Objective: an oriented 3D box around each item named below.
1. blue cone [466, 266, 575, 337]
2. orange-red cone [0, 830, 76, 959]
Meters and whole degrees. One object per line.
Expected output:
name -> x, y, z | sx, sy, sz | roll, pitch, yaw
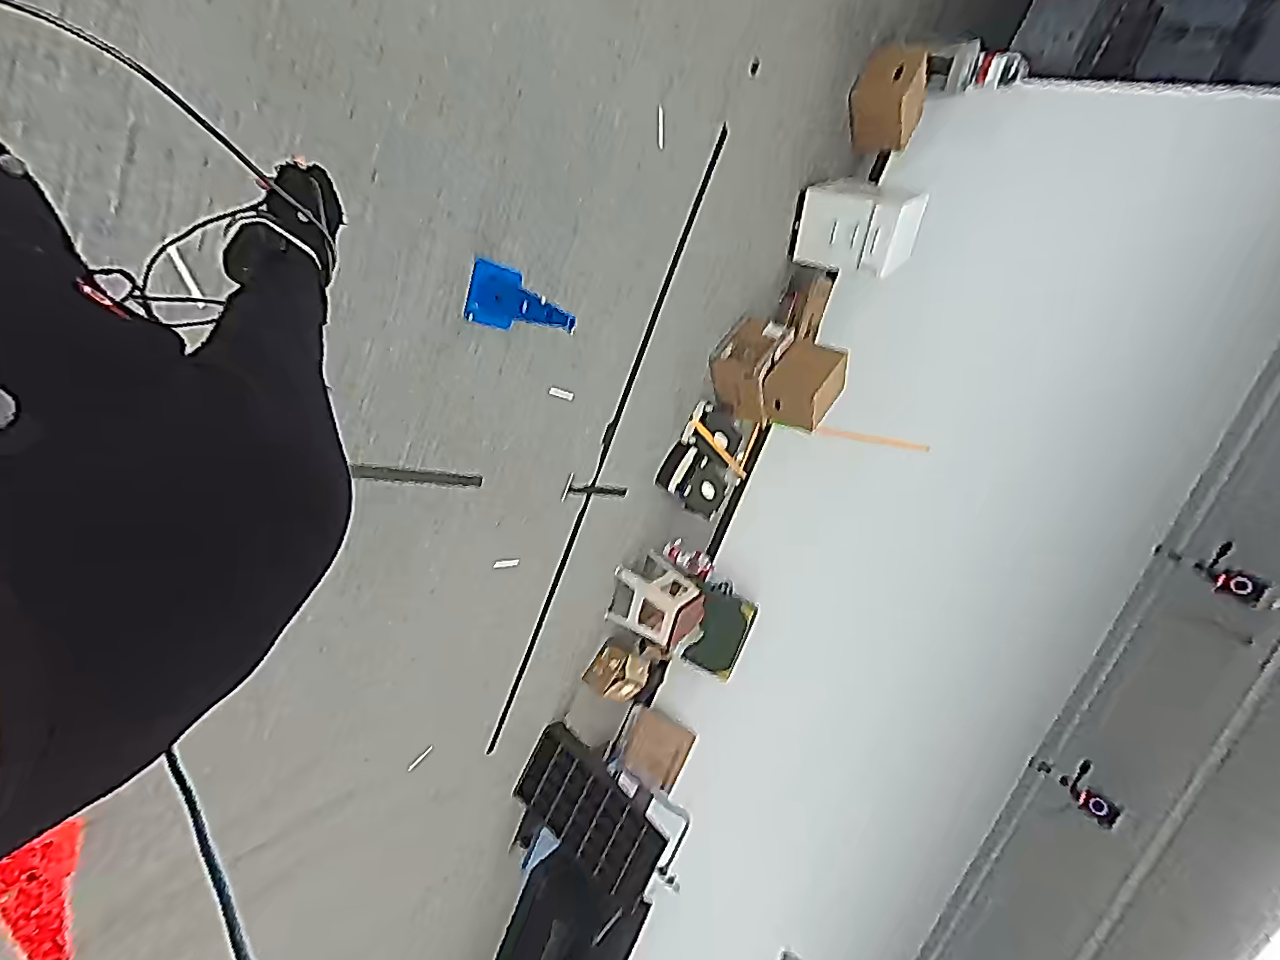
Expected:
blue cone -> -0.349, -0.525, 1.688 | 0.193, 0.380, 0.192 | -3, 117, -58
orange-red cone -> -1.420, 1.060, 1.271 | 0.199, 0.360, 0.198 | -3, 117, -59
